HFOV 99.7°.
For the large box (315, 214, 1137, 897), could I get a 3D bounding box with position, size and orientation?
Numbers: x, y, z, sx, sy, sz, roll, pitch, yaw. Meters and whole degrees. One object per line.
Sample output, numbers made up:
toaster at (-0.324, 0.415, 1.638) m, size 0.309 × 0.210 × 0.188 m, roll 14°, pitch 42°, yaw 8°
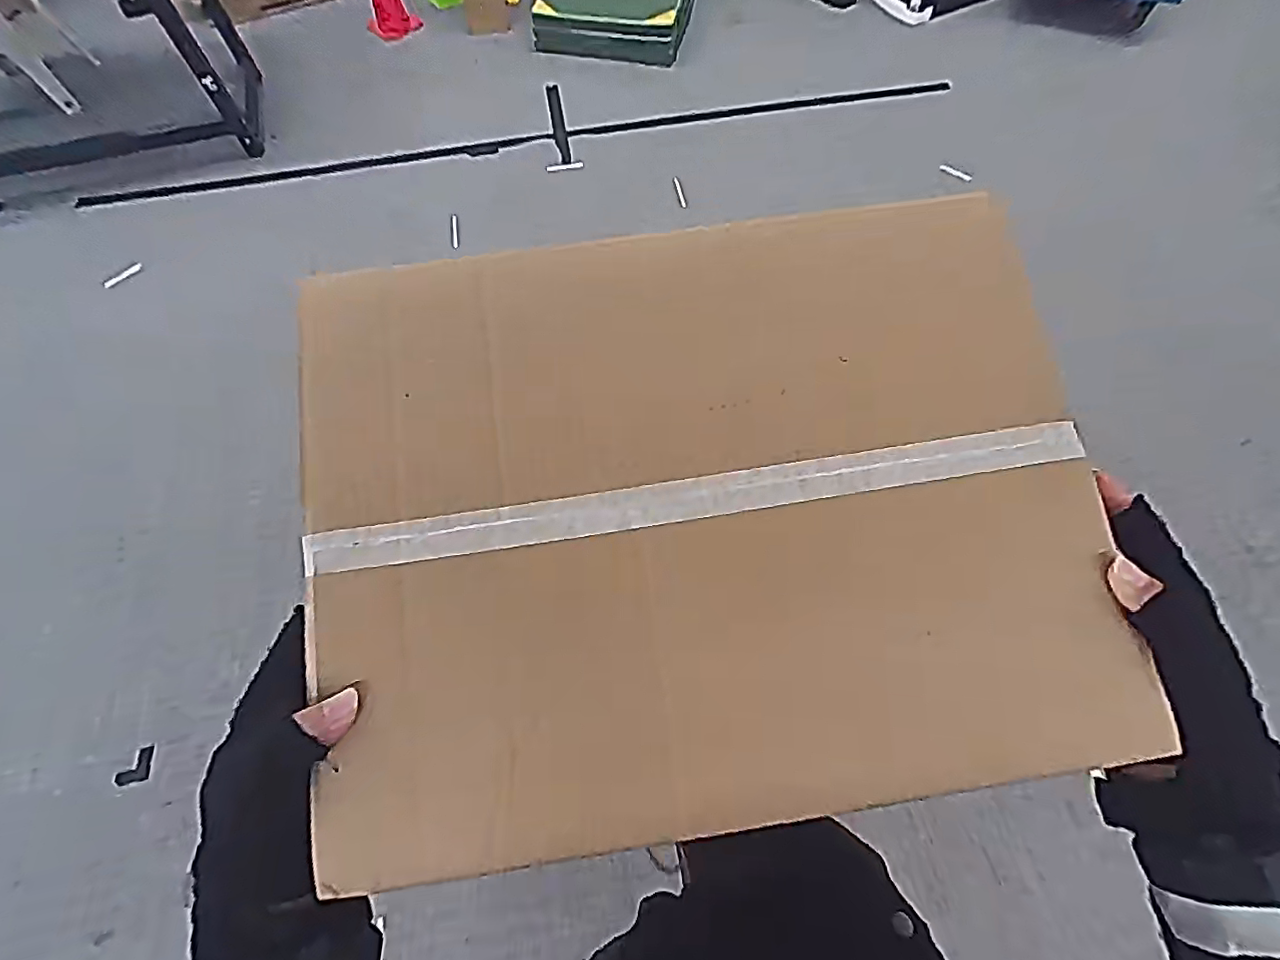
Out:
large box at (0.032, 0.046, 0.437) m, size 0.408 × 0.320 × 0.320 m, roll -9°, pitch 77°, yaw -2°
